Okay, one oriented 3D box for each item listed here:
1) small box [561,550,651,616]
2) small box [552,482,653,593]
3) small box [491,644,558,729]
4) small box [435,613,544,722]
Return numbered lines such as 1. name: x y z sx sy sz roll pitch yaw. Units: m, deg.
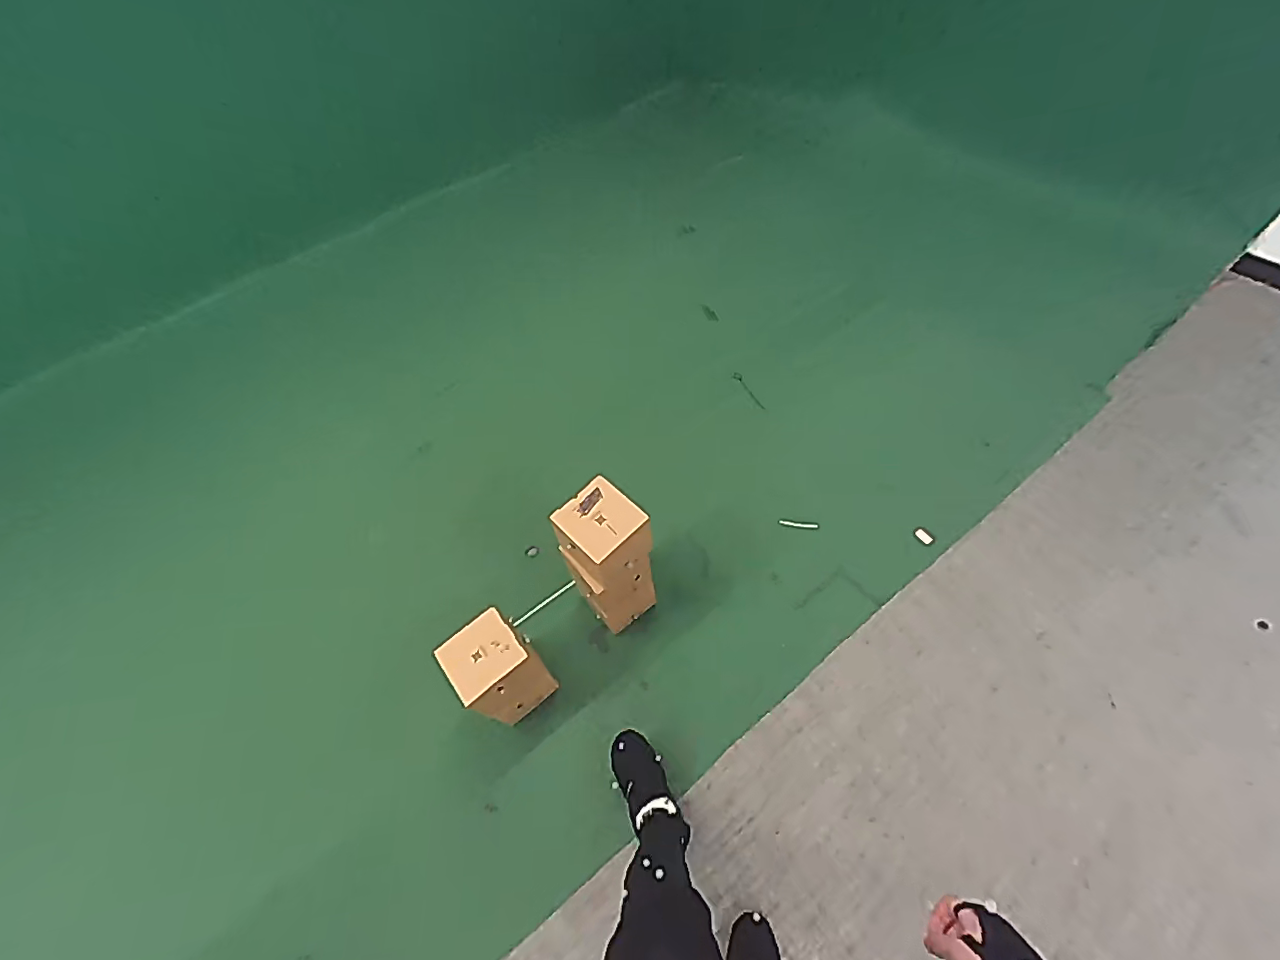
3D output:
1. small box: -0.084 0.241 1.449 0.168 0.176 0.179 -35 60 -17
2. small box: -0.086 0.144 1.317 0.168 0.176 0.179 -41 63 -19
3. small box: -0.347 0.553 1.474 0.168 0.176 0.179 -37 59 -16
4. small box: -0.363 0.468 1.334 0.179 0.176 0.168 -36 60 -16
